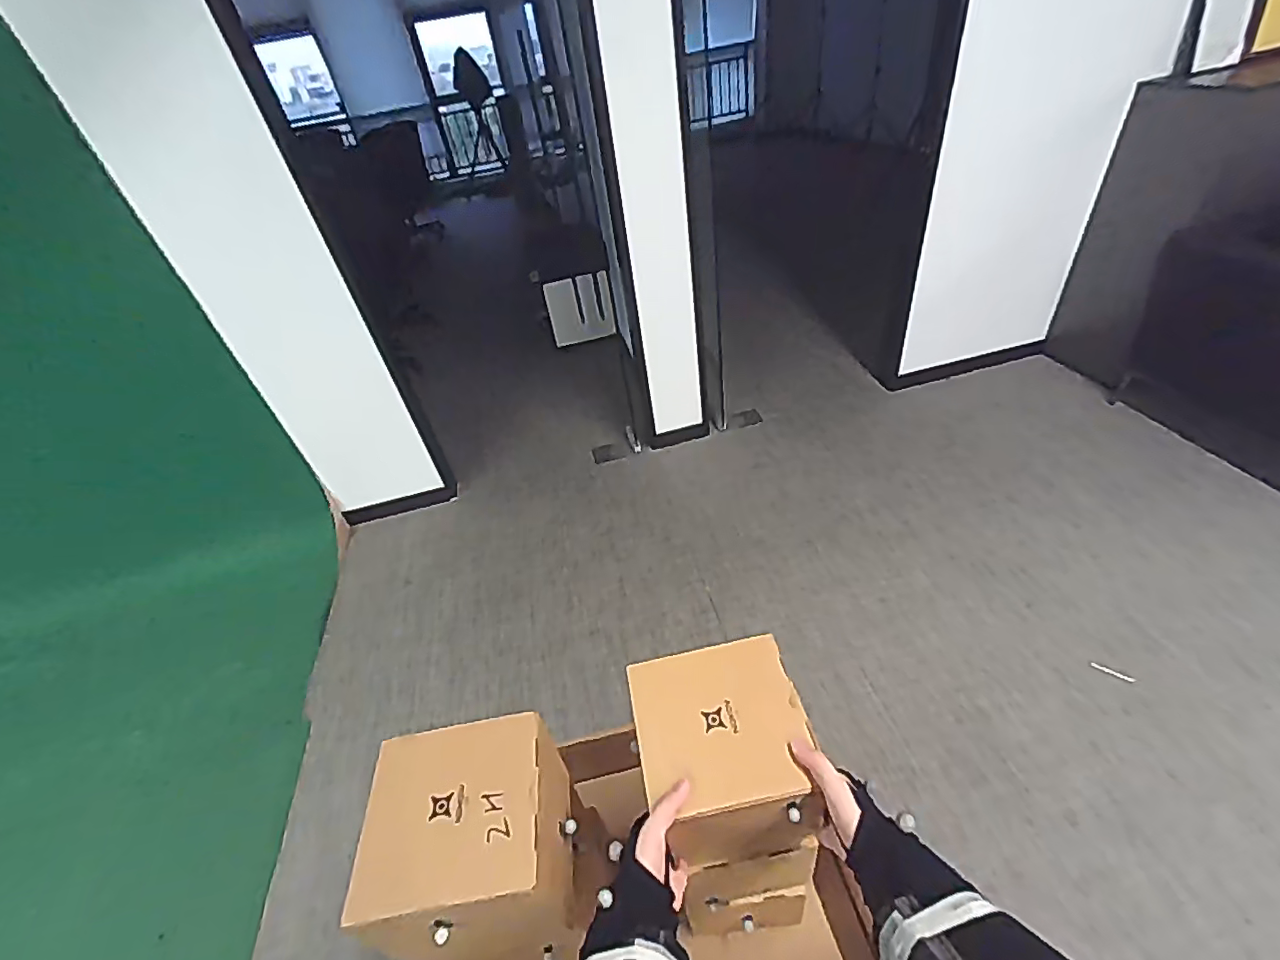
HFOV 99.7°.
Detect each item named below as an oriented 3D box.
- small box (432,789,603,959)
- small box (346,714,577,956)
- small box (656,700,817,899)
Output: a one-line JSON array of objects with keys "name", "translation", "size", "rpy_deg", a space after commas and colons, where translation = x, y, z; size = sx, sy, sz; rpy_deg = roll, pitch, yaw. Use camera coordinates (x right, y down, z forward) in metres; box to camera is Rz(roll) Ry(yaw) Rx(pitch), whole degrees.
[{"name": "small box", "translation": [-0.149, 0.506, 0.701], "size": [0.168, 0.176, 0.179], "rpy_deg": [-13, 39, -3]}, {"name": "small box", "translation": [-0.174, 0.387, 0.589], "size": [0.179, 0.176, 0.168], "rpy_deg": [-11, 40, 0]}, {"name": "small box", "translation": [0.125, 0.431, 0.723], "size": [0.168, 0.176, 0.179], "rpy_deg": [-12, 39, 0]}]
